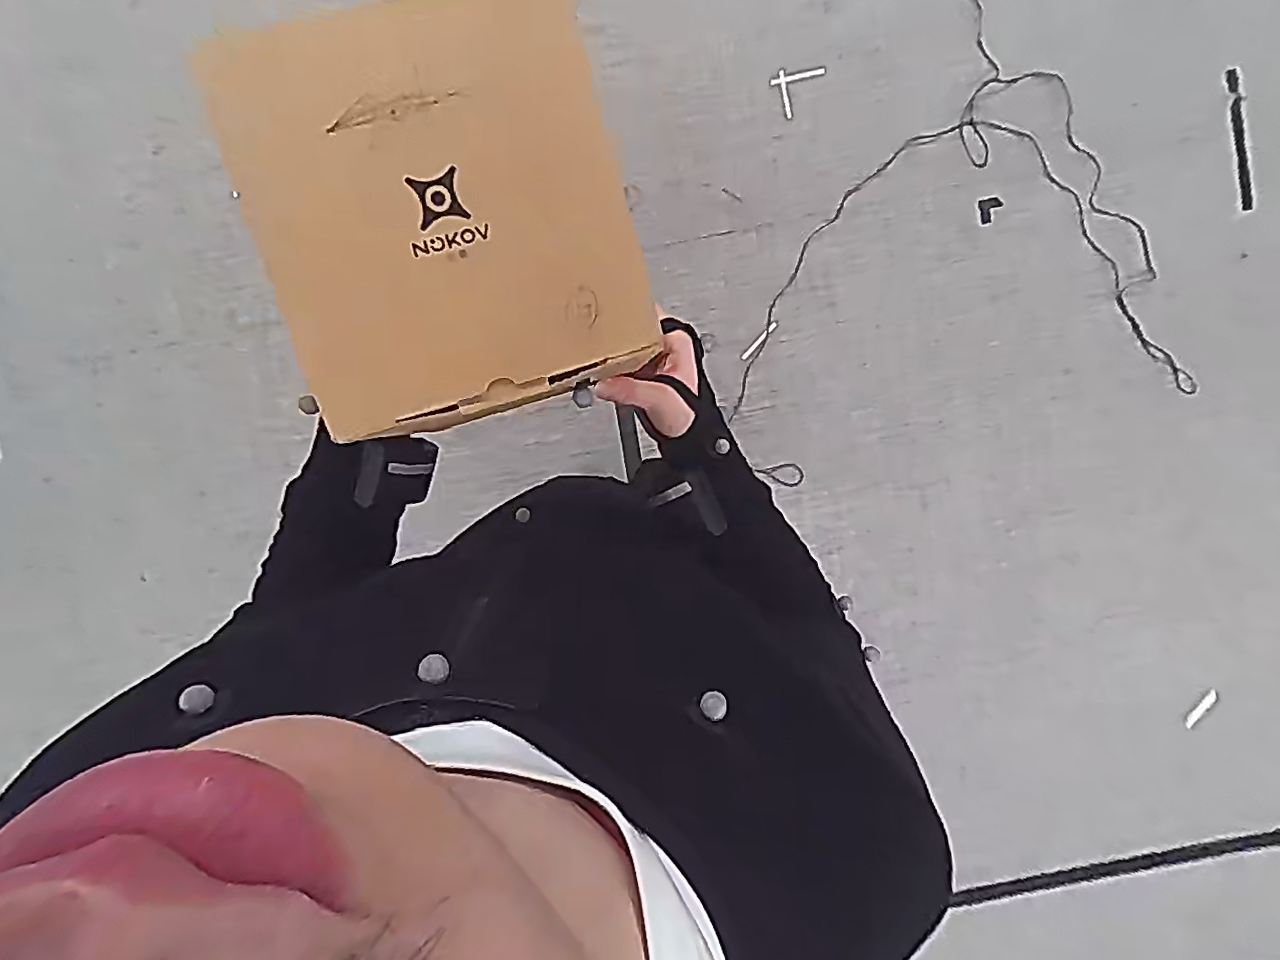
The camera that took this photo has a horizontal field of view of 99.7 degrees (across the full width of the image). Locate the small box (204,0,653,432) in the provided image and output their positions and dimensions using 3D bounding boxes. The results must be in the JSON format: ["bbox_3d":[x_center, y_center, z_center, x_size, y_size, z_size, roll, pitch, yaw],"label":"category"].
[{"bbox_3d":[-0.100,-0.138,0.336,0.168,0.176,0.179,-18,98,-4],"label":"small box"}]
